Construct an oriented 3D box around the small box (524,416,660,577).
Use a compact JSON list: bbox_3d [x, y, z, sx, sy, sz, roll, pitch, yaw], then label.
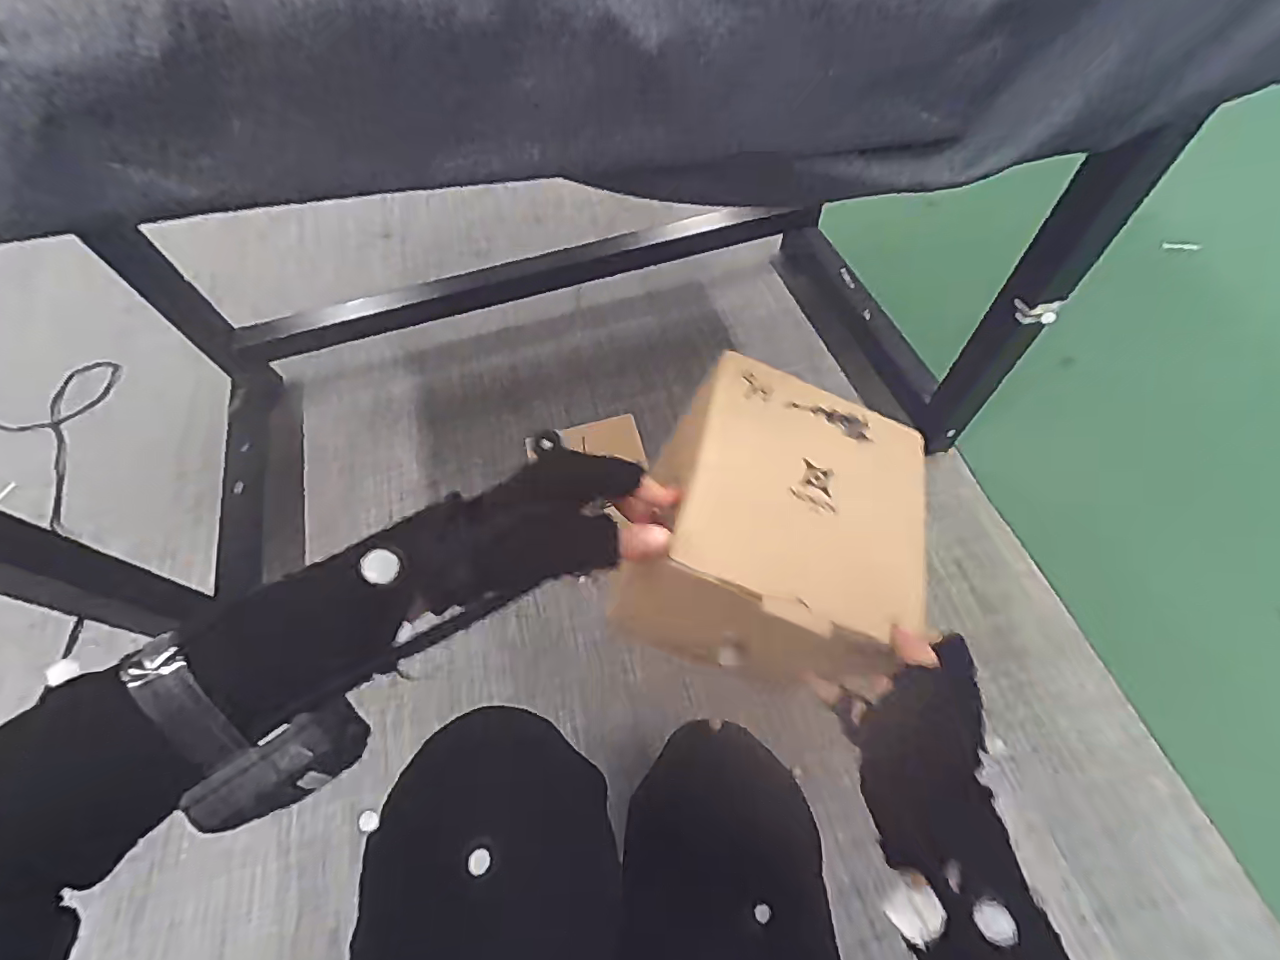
[{"bbox_3d":[-0.068,0.035,0.827,0.168,0.176,0.179,-14,59,-3],"label":"small box"}]
